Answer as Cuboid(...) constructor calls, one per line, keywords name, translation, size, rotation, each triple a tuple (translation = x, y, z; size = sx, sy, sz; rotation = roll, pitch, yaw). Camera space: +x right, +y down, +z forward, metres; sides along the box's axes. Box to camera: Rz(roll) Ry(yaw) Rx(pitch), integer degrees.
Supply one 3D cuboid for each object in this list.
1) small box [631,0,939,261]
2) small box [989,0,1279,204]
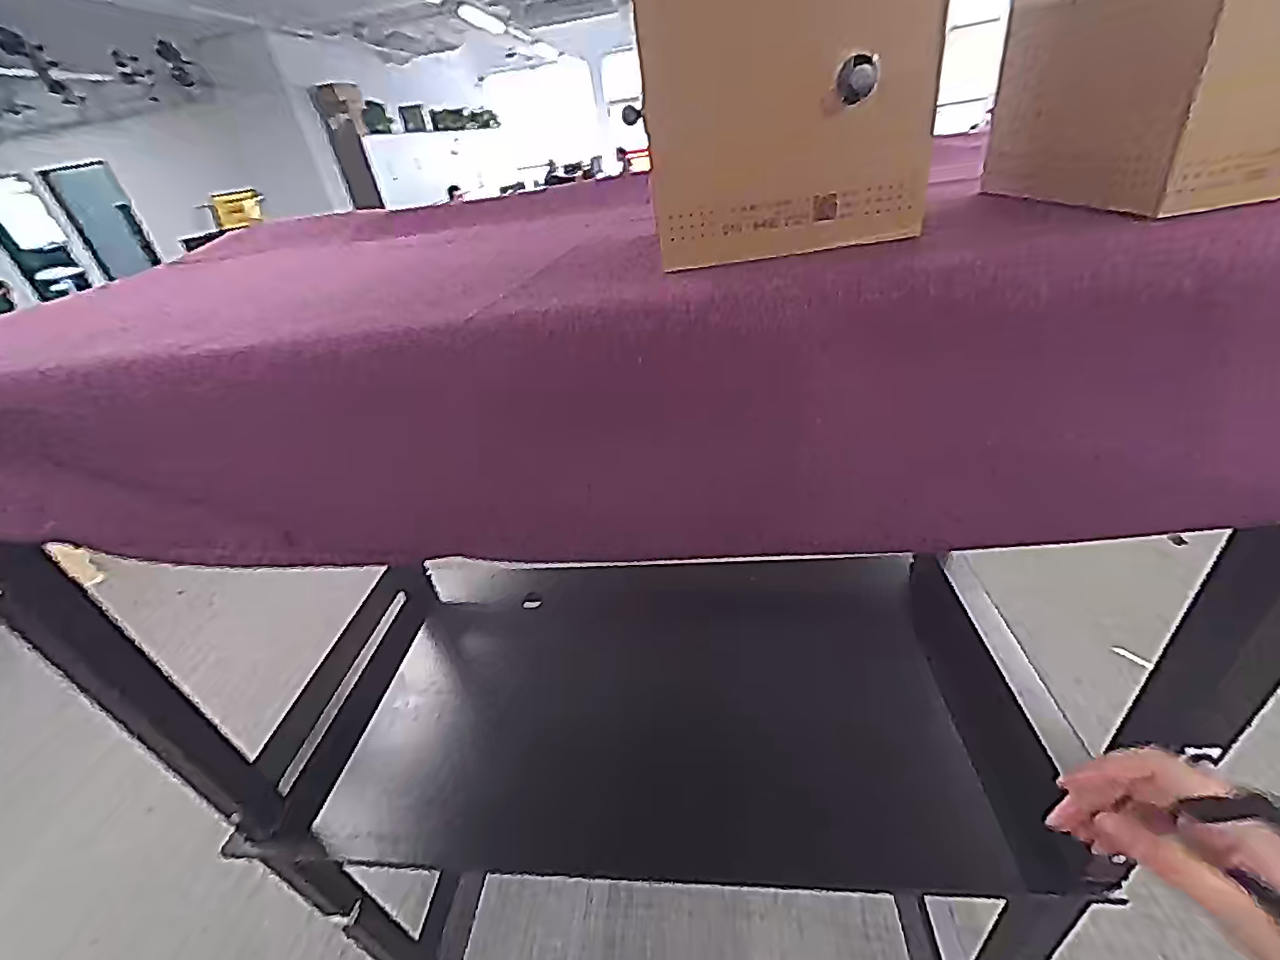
Cuboid(name="small box", translation=(0.086, -0.257, 0.373), size=(0.168, 0.176, 0.179), rotation=(-6, 32, 5))
Cuboid(name="small box", translation=(0.345, -0.271, 0.321), size=(0.168, 0.176, 0.179), rotation=(-9, 32, 3))
